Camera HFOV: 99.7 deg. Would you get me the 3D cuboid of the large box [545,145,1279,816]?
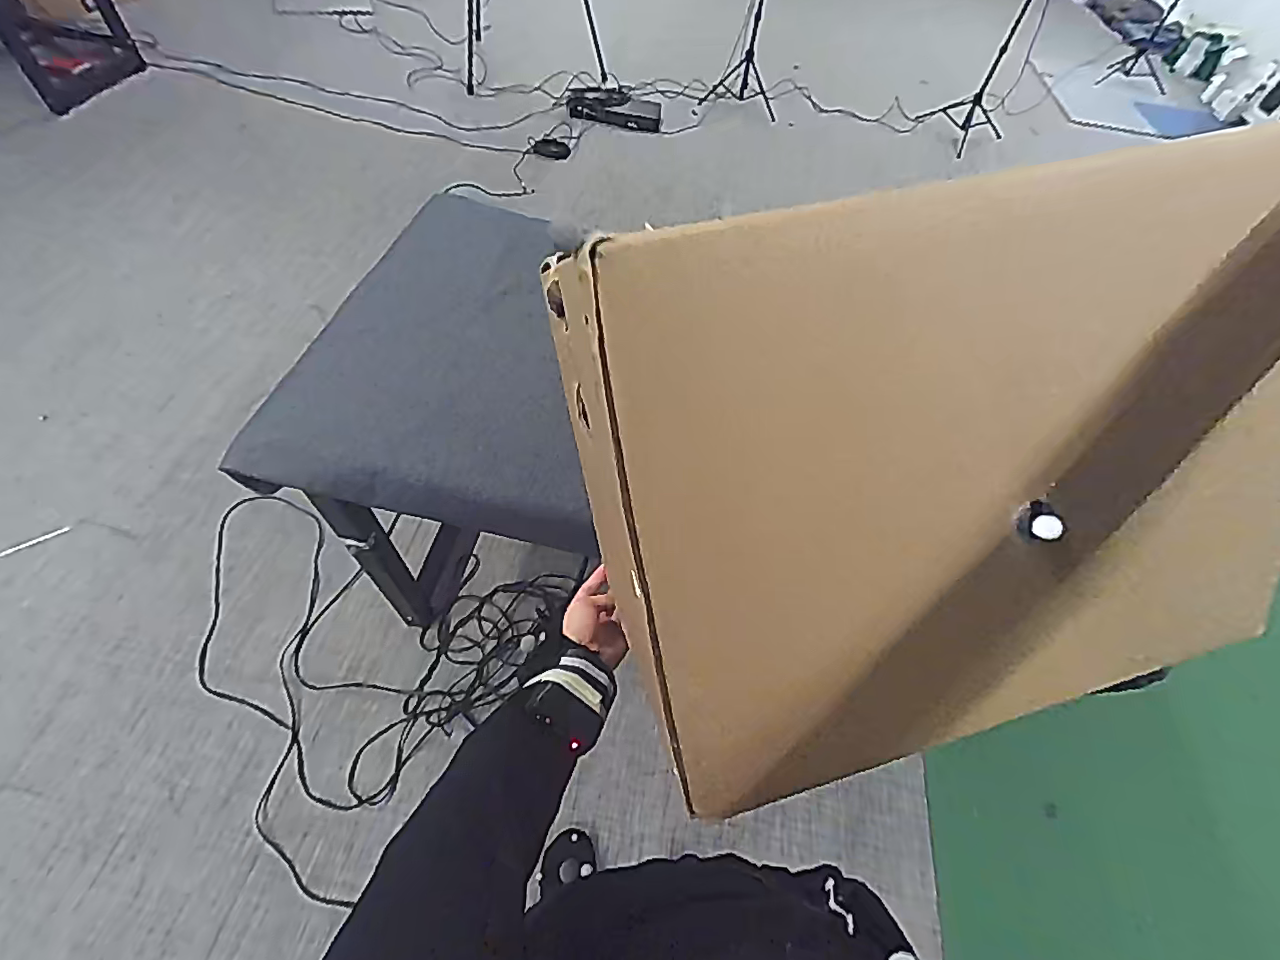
[{"bbox_3d":[0.171,-0.032,0.431,0.408,0.320,0.320,-16,22,-9],"label":"large box"}]
